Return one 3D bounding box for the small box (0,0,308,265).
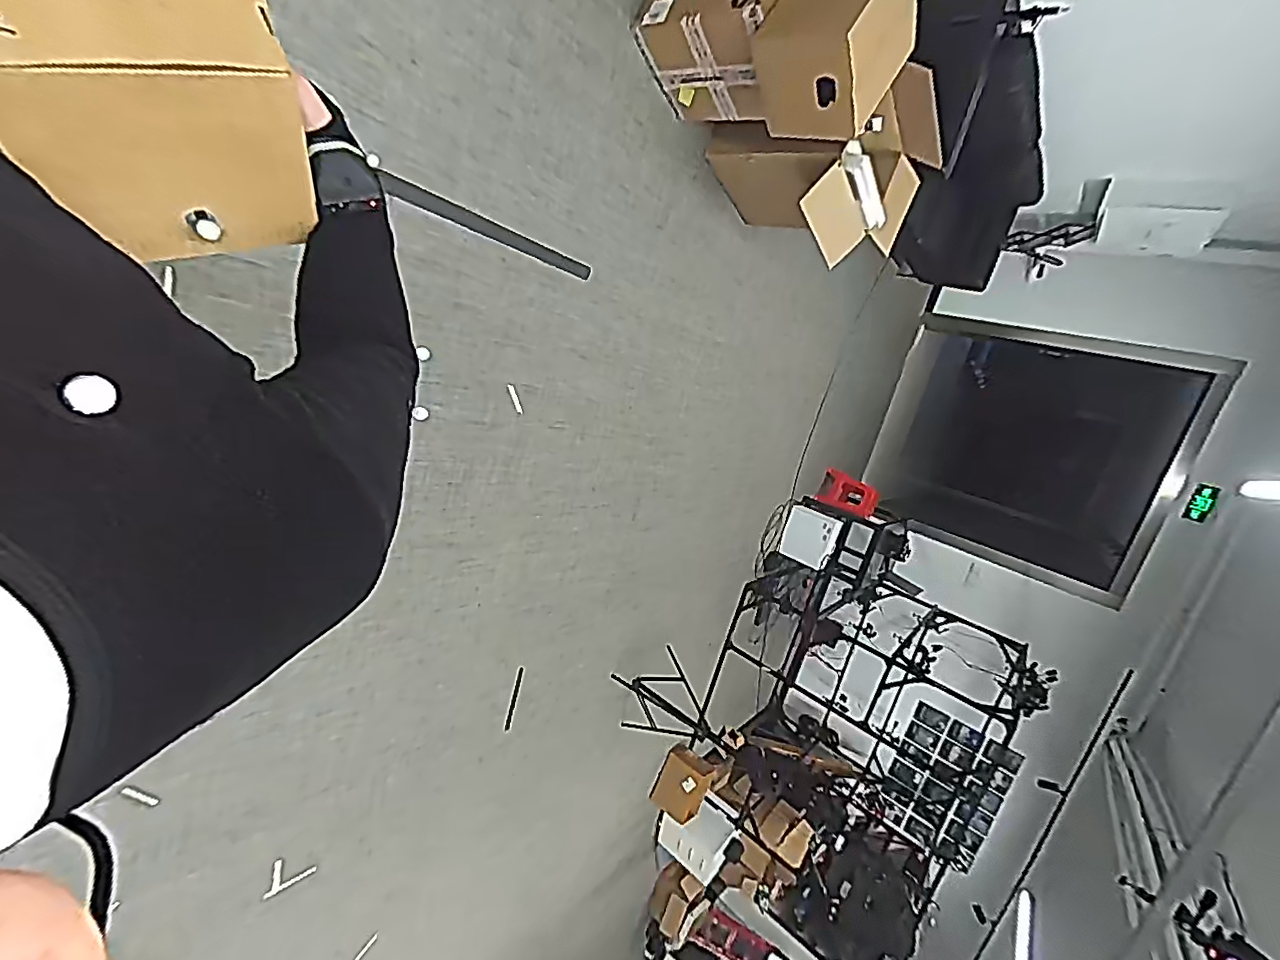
[{"bbox_3d":[-0.388,-0.300,0.430,0.179,0.168,0.176,-24,172,-30],"label":"small box"}]
